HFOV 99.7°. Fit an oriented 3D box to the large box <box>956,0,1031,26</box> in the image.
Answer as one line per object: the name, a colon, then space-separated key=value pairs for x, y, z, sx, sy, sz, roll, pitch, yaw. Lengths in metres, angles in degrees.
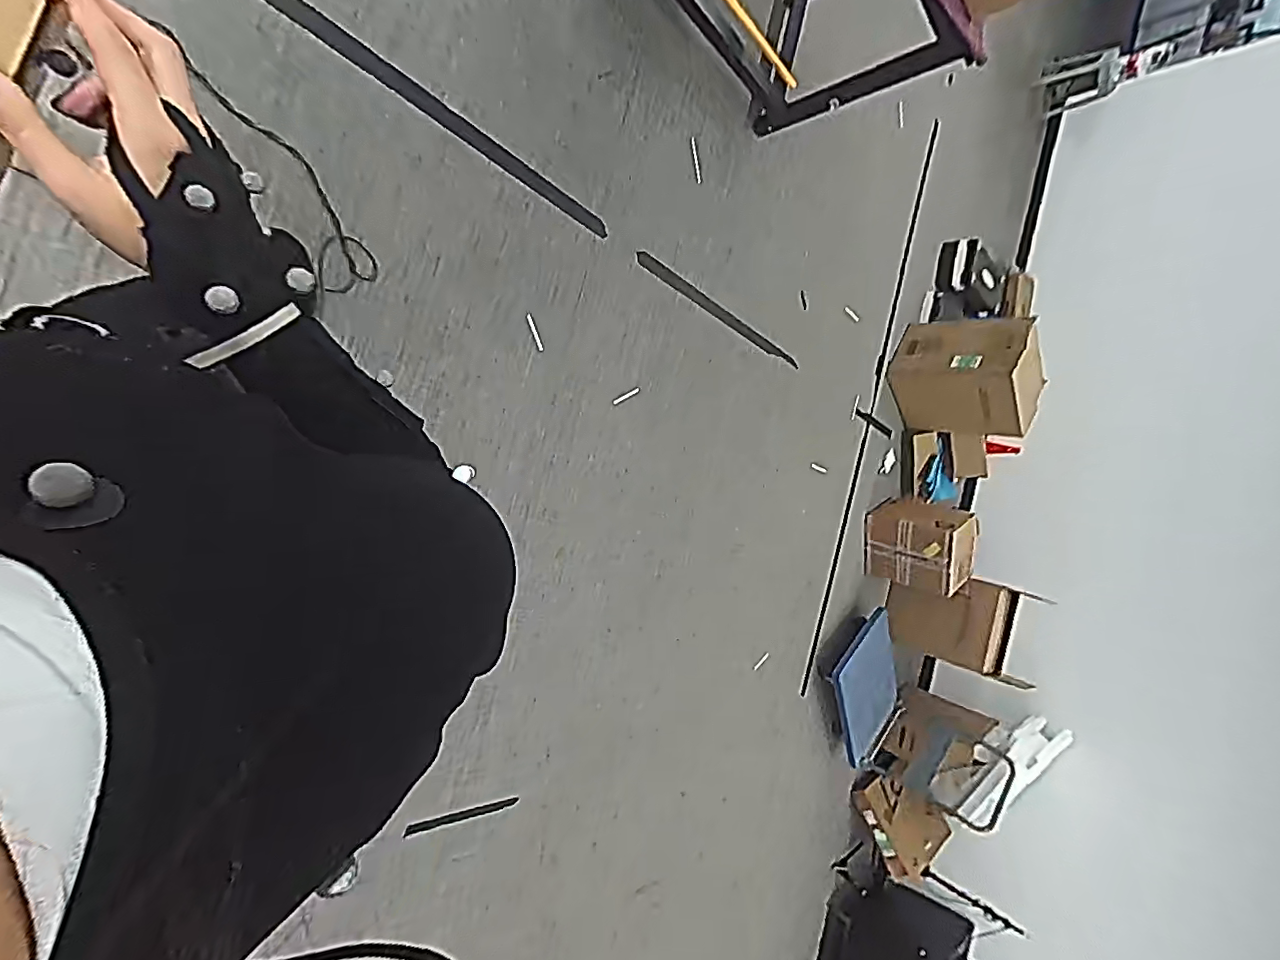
large box: x=0.947 y=-1.454 z=1.297 sx=0.320 sy=0.320 sz=0.408 roll=15 pitch=87 yaw=-45
